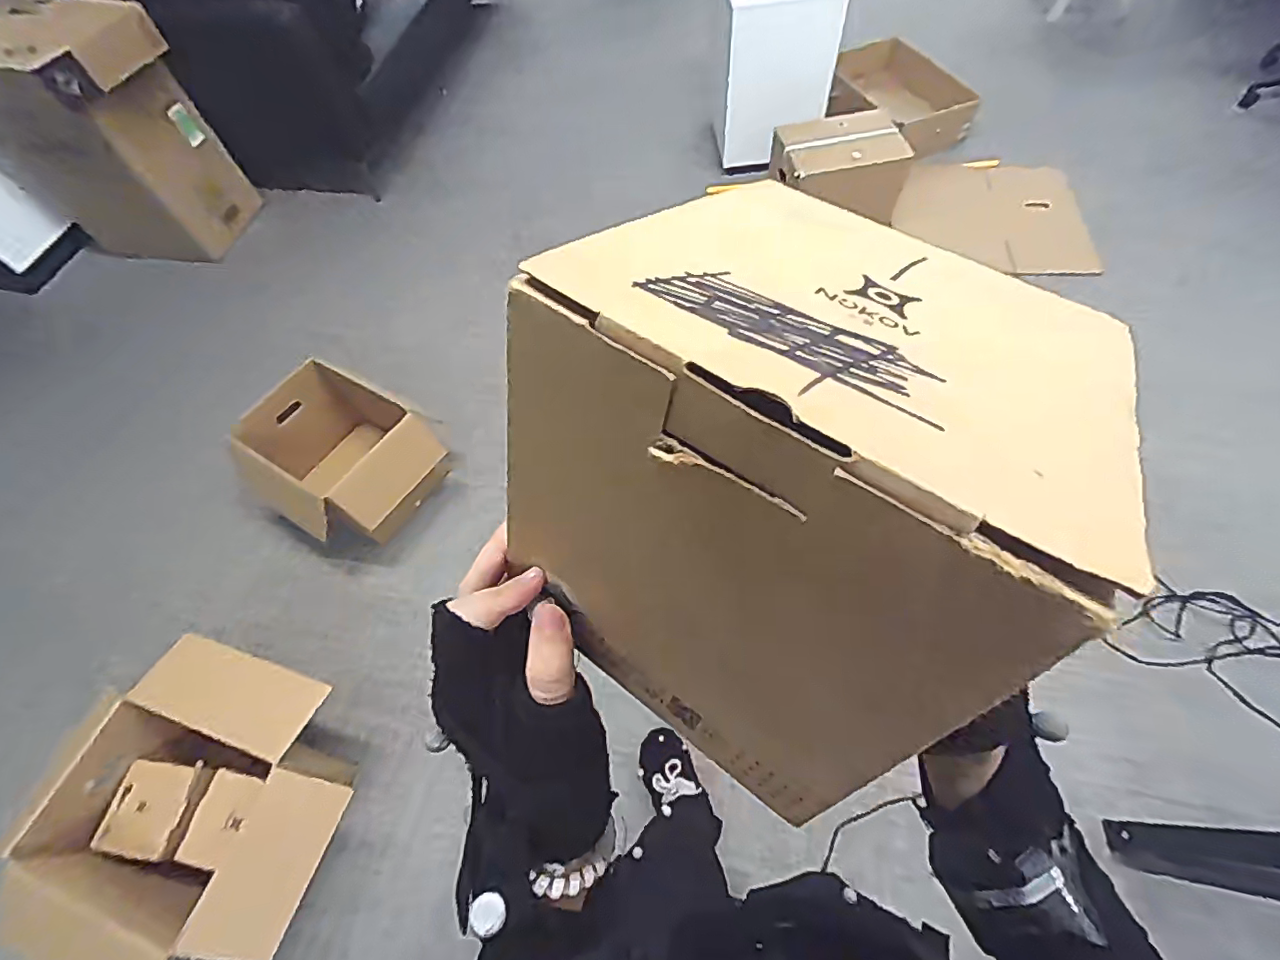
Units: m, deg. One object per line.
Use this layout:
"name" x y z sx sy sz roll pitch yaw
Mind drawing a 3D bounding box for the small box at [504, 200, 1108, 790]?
"small box" 0.060 0.000 0.249 0.168 0.176 0.179 33 48 19
